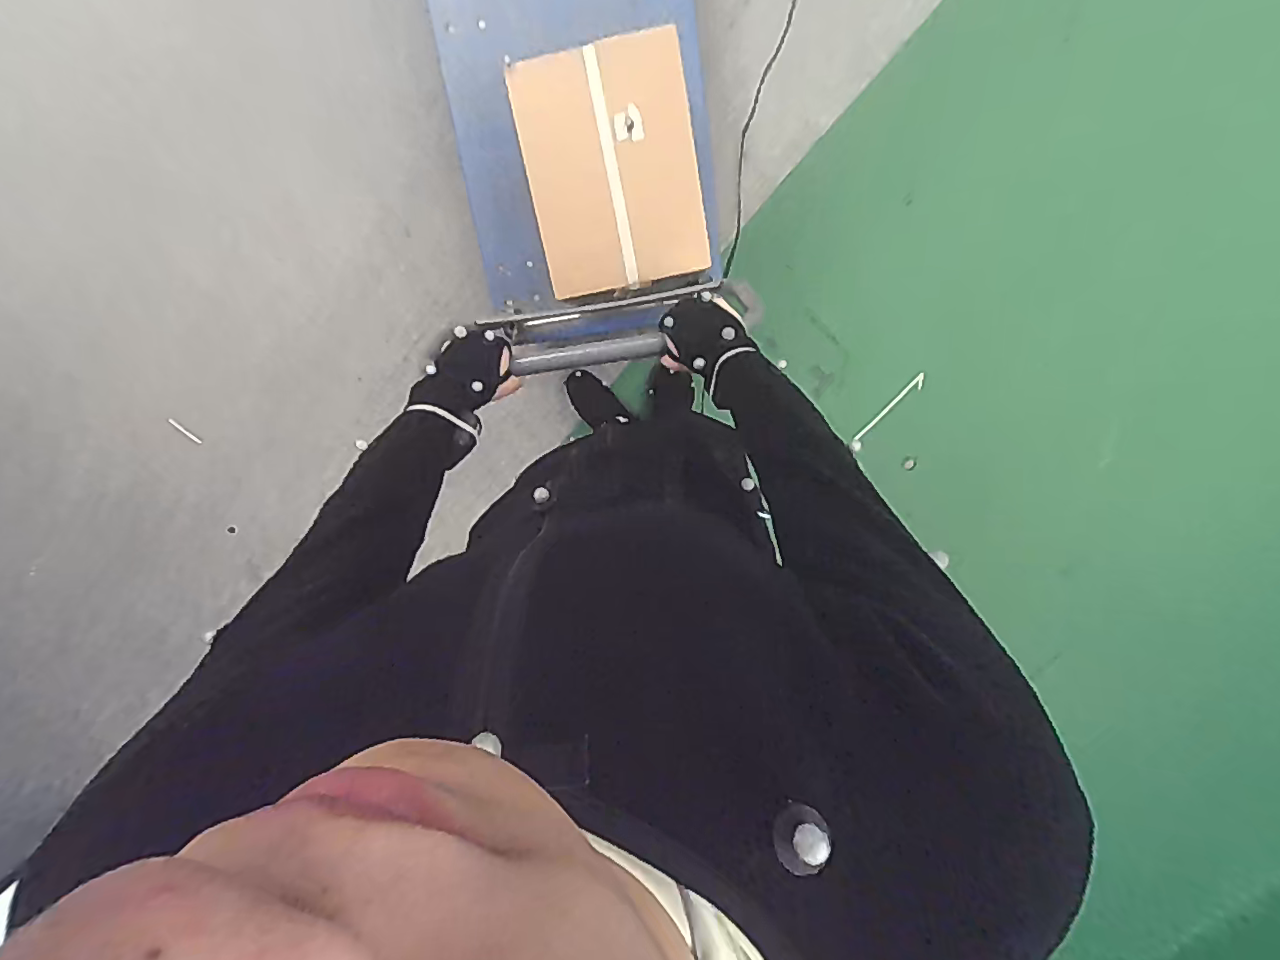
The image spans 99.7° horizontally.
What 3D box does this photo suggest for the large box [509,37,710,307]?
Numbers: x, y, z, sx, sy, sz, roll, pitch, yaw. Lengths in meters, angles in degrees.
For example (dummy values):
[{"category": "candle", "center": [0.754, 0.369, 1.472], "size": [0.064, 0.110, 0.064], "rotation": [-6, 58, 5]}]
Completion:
[{"category": "large box", "center": [-0.045, -0.613, 1.165], "size": [0.320, 0.320, 0.408], "rotation": [-10, 105, 3]}]
